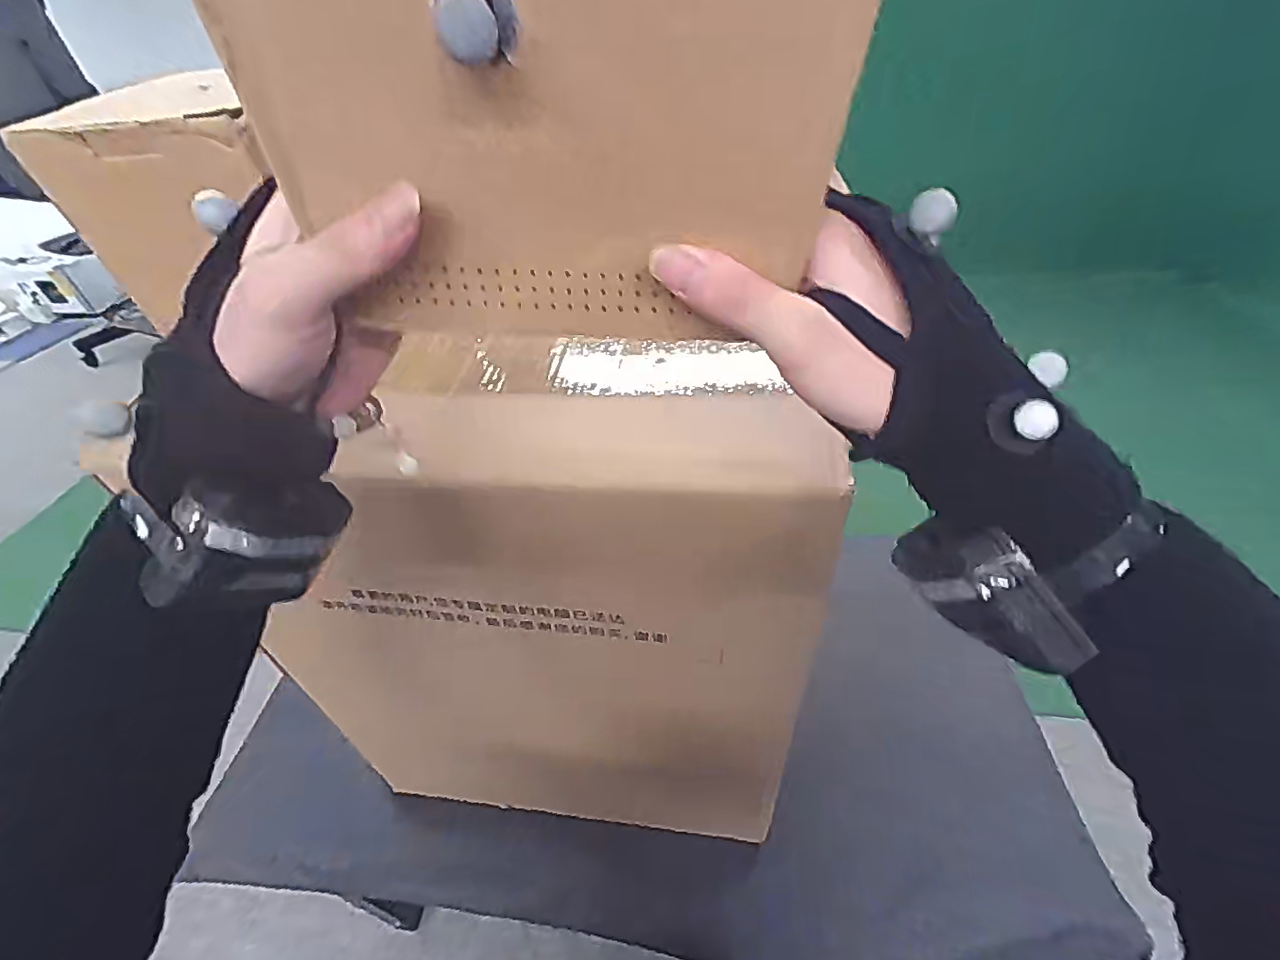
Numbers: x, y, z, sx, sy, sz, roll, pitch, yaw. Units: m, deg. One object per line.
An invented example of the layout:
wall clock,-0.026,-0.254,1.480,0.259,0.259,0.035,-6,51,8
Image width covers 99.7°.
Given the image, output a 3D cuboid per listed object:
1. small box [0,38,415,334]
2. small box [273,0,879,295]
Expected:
small box,-0.297,-0.229,0.428,0.168,0.176,0.179,1,45,6
small box,-0.017,-0.185,0.195,0.179,0.176,0.168,2,51,-2
